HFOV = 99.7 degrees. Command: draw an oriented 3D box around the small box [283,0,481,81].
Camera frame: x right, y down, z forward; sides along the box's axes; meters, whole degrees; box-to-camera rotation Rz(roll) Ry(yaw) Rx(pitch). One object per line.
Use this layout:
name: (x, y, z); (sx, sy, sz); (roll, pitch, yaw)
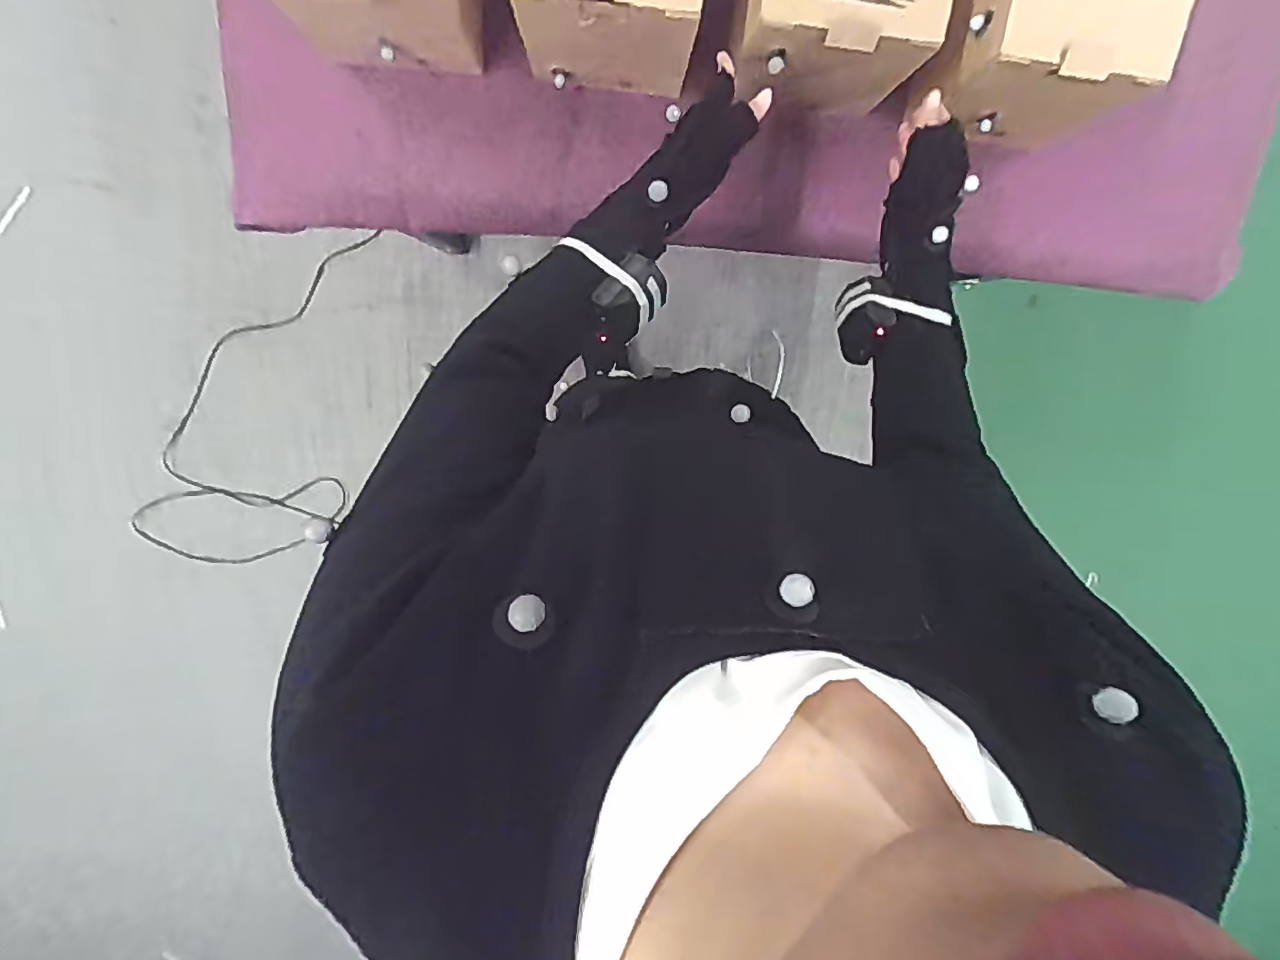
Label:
small box: (-0.249, -0.516, 0.502); (0.168, 0.176, 0.179); (3, 105, -3)

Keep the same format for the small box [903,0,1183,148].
small box: (0.397, -0.470, 0.547); (0.168, 0.176, 0.179); (5, 104, -4)
